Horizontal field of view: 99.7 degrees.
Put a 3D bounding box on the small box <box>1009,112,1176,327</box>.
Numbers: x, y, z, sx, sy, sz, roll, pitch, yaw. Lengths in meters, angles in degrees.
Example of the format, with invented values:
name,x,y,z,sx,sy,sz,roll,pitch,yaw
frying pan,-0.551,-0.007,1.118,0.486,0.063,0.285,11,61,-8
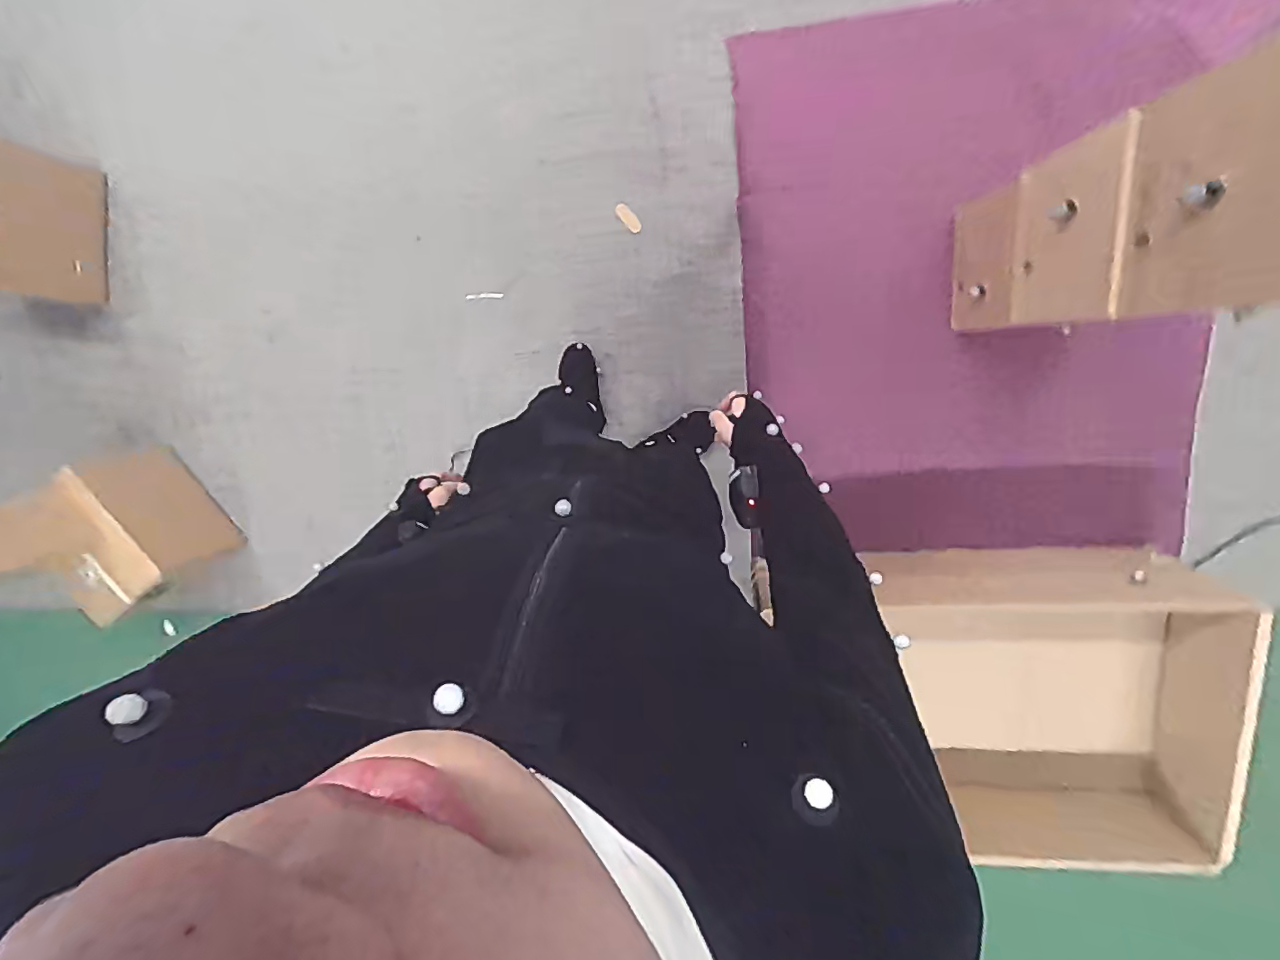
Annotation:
name,x,y,z,sx,sy,sz,roll,pitch,yaw
small box,0.503,-0.245,0.535,0.179,0.176,0.168,-3,103,7

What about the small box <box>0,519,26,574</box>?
name,x,y,z,sx,sy,sz,roll,pitch,yaw
small box,-1.673,0.168,1.298,0.168,0.176,0.179,-30,99,12

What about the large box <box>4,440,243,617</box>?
name,x,y,z,sx,sy,sz,roll,pitch,yaw
large box,-1.600,0.138,1.708,0.320,0.320,0.408,-34,98,14

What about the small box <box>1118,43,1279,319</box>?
name,x,y,z,sx,sy,sz,roll,pitch,yaw
small box,0.489,-0.206,0.376,0.179,0.176,0.168,-3,104,7

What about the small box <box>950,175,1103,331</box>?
name,x,y,z,sx,sy,sz,roll,pitch,yaw
small box,0.524,-0.282,0.691,0.179,0.176,0.168,-2,104,7
